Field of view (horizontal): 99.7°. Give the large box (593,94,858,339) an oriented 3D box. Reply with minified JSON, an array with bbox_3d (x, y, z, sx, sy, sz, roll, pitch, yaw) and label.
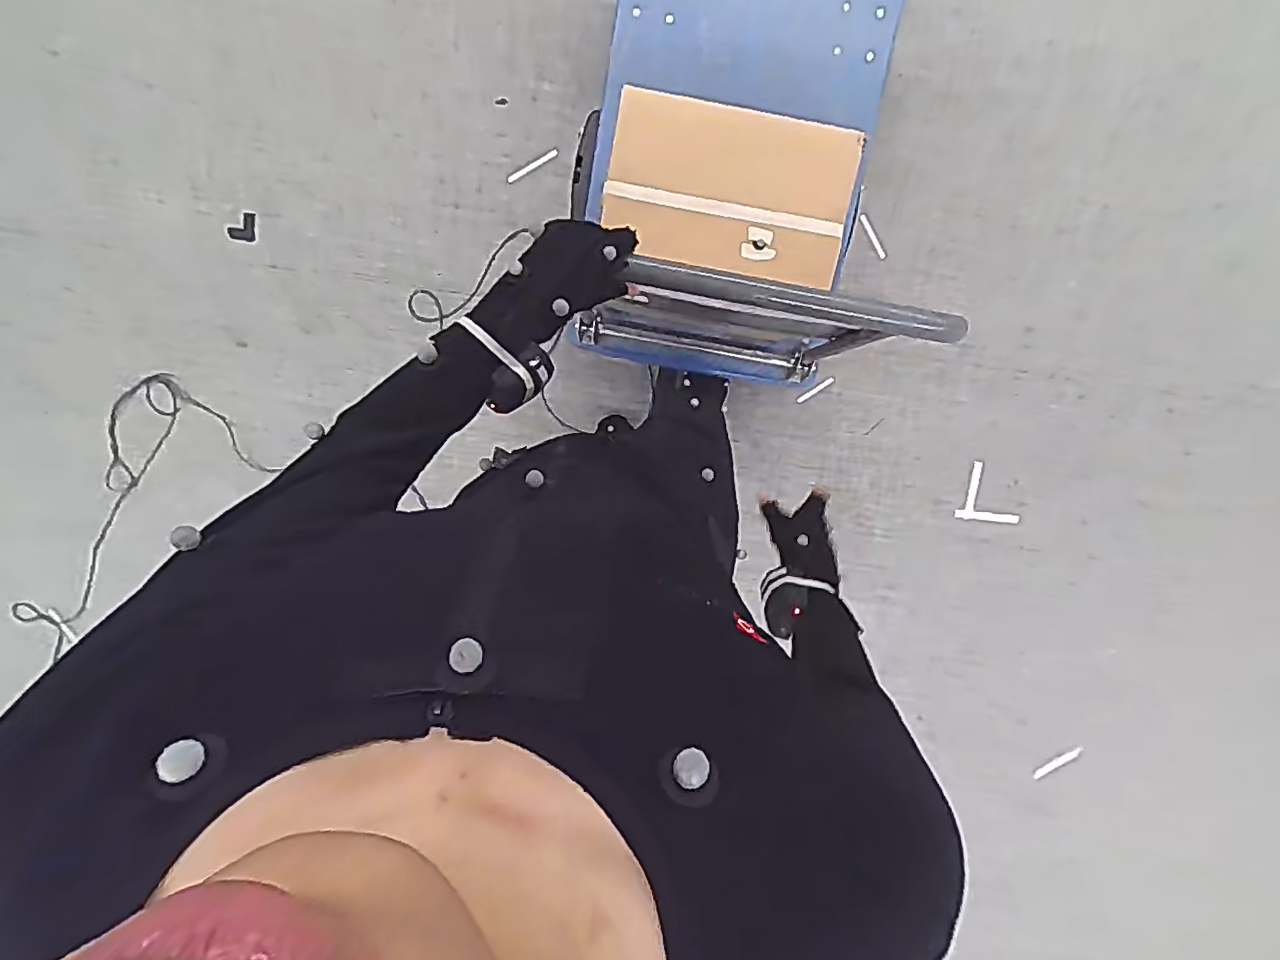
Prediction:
[{"bbox_3d":[0.136,-0.470,1.047,0.408,0.320,0.320,10,101,-2],"label":"large box"}]
